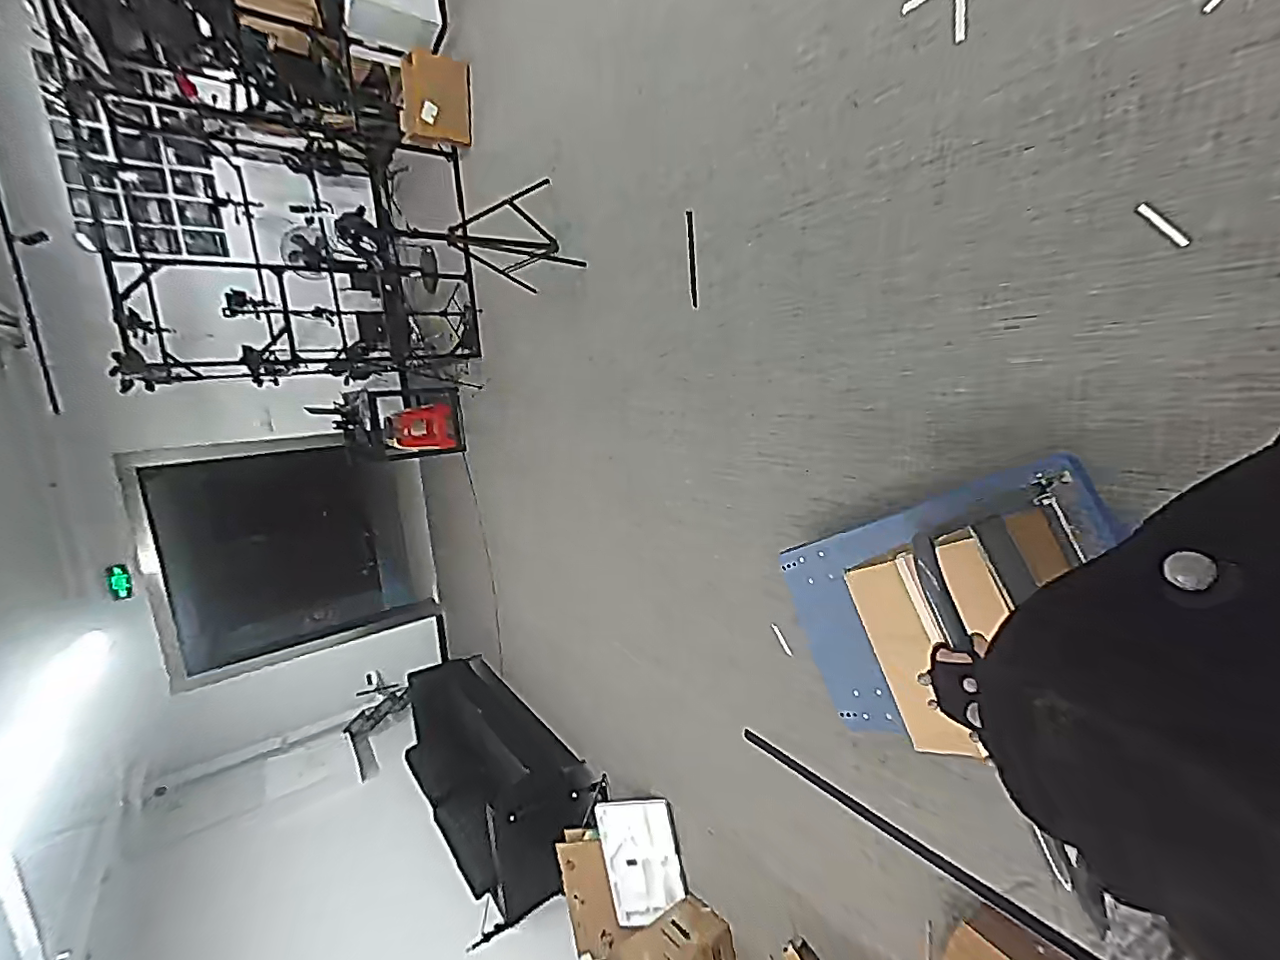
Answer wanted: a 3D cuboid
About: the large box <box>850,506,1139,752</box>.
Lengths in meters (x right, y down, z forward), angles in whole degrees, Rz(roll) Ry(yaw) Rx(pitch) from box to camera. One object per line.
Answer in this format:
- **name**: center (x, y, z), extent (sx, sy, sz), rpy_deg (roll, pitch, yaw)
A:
- **large box**: center (0.737, 0.309, 1.152), extent (0.320, 0.320, 0.408), rpy_deg (-36, 69, 53)
